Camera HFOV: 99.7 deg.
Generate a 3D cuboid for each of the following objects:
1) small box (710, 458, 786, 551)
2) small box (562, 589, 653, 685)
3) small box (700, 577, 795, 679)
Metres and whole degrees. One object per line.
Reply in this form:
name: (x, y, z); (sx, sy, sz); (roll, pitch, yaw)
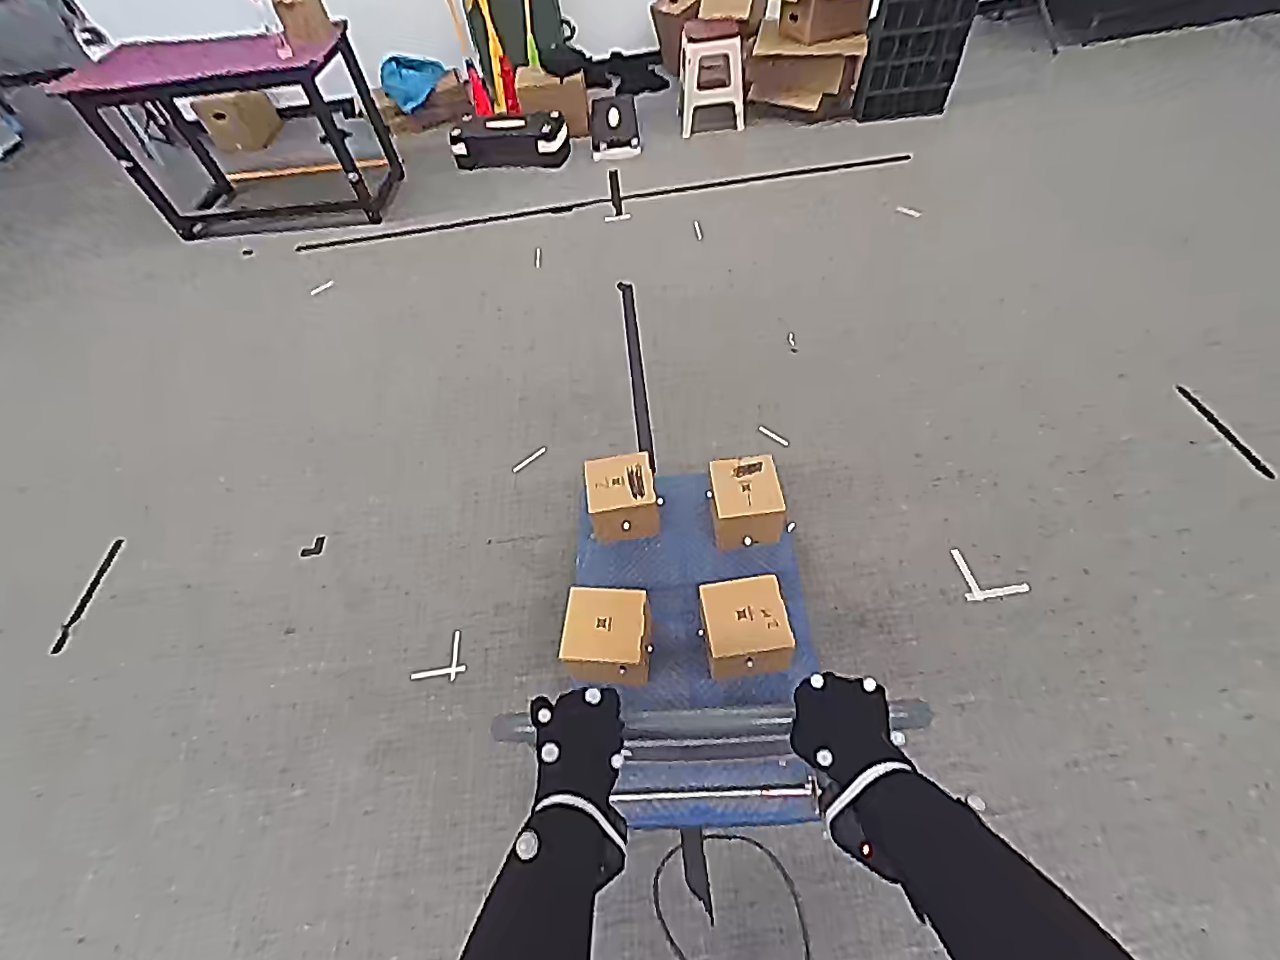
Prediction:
small box: (0.275, 0.066, 1.421); (0.168, 0.176, 0.179); (-7, 55, 2)
small box: (-0.068, 0.366, 1.249); (0.179, 0.176, 0.168); (1, 54, 6)
small box: (0.237, 0.341, 1.229); (0.179, 0.176, 0.168); (-9, 54, 1)
